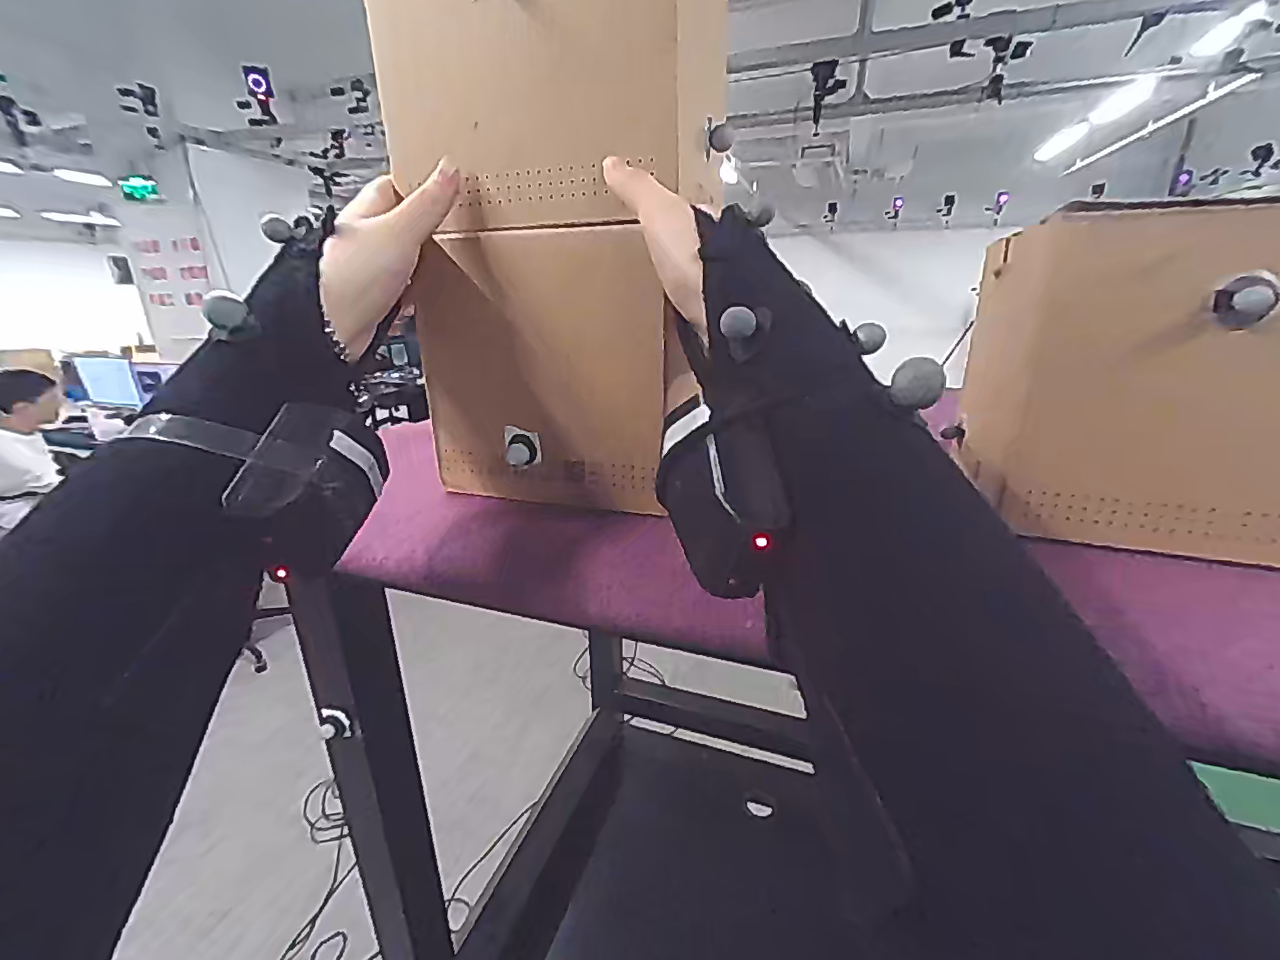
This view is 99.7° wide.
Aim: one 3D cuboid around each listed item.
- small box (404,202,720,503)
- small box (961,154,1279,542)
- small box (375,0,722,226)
[{"bbox_3d":[-0.038,-0.095,0.396,0.168,0.176,0.179,4,21,16],"label":"small box"},{"bbox_3d":[0.302,-0.074,0.313,0.179,0.176,0.168,7,20,20],"label":"small box"},{"bbox_3d":[-0.046,-0.252,0.345,0.179,0.176,0.168,4,20,16],"label":"small box"}]
